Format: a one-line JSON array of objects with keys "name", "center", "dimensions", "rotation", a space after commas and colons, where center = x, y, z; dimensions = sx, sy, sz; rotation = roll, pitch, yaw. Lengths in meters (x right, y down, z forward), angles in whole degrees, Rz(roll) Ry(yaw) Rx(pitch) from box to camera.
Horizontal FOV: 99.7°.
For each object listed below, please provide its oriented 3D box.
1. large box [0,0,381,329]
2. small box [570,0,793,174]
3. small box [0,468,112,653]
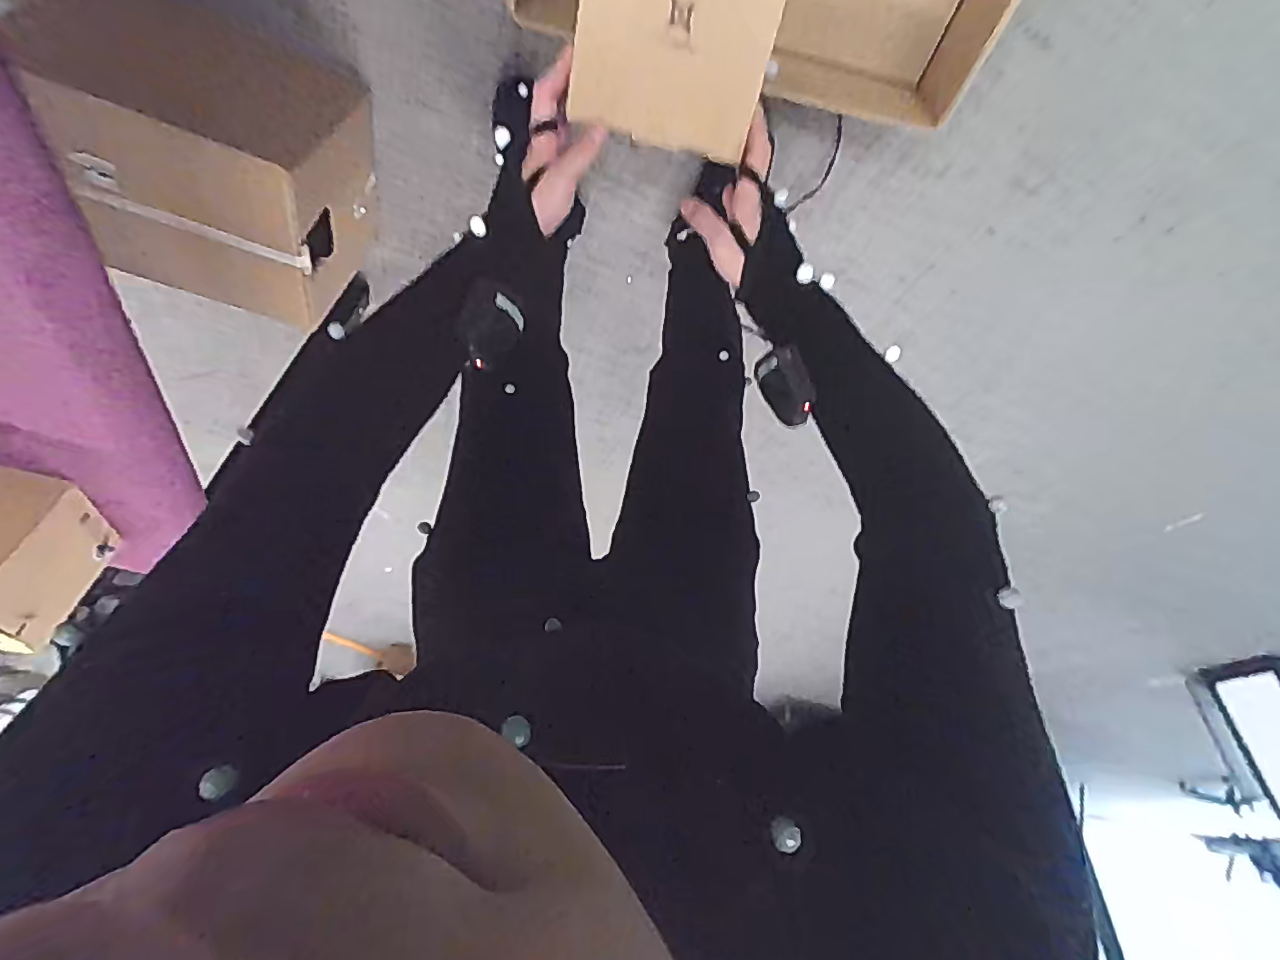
[{"name": "large box", "center": [-0.708, -0.528, 0.923], "dimensions": [0.408, 0.320, 0.320], "rotation": [17, 141, -13]}, {"name": "small box", "center": [0.031, -0.412, 0.509], "dimensions": [0.168, 0.176, 0.179], "rotation": [9, 124, -9]}, {"name": "small box", "center": [-0.793, 0.085, 0.643], "dimensions": [0.179, 0.176, 0.168], "rotation": [18, 141, -13]}]
